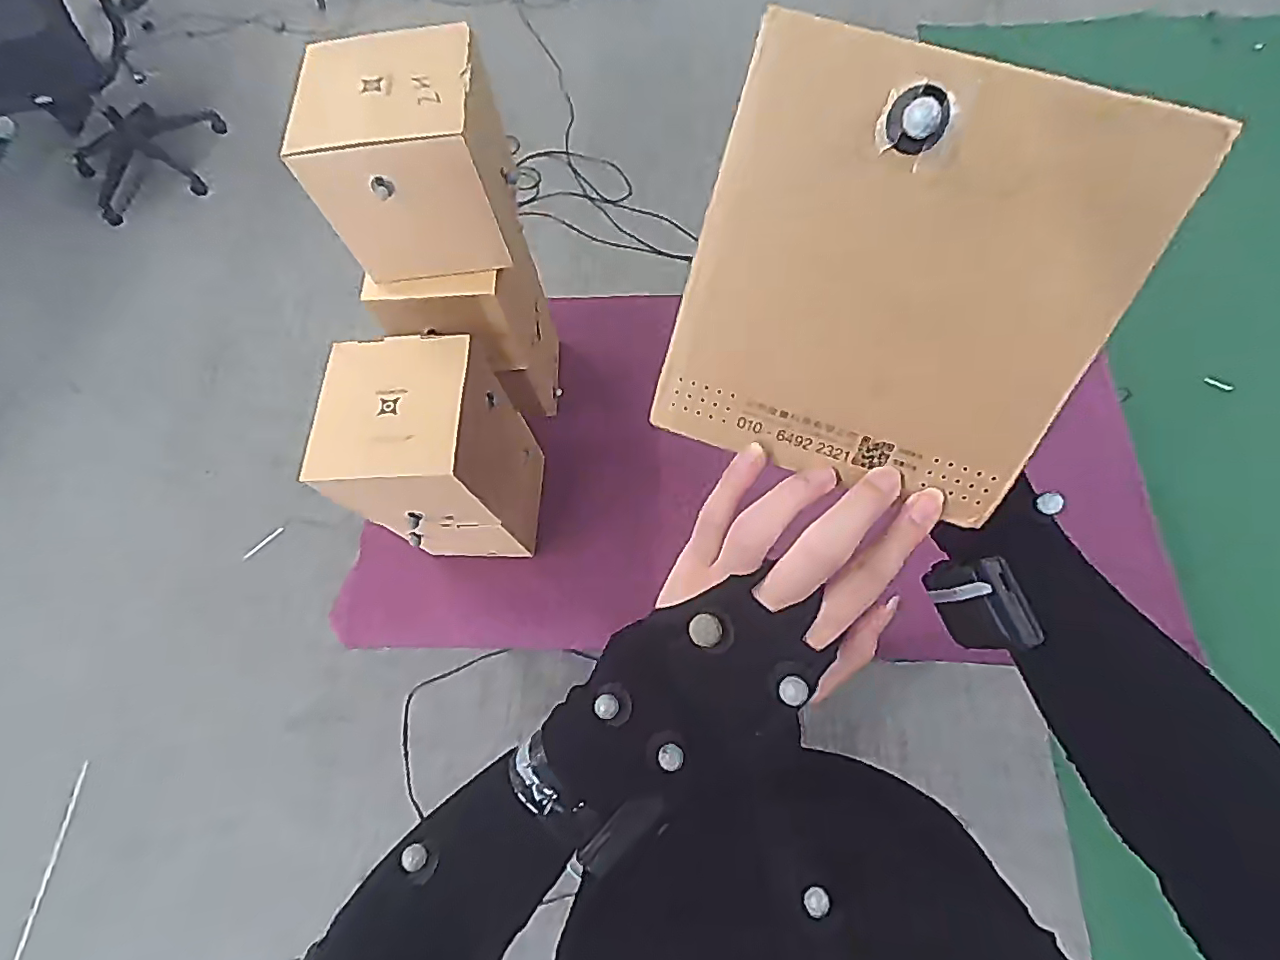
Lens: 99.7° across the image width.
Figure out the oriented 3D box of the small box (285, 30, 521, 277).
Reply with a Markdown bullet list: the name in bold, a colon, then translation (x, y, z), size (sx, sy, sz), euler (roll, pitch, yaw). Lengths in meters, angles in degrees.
- **small box**: translation (-0.243, -0.349, 0.602), size (0.179, 0.176, 0.168), euler (-5, 68, 2)

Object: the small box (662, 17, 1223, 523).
- **small box**: translation (0.120, -0.103, 0.300), size (0.168, 0.176, 0.179), euler (18, 26, 5)

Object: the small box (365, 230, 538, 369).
- **small box**: translation (-0.244, -0.264, 0.745), size (0.168, 0.176, 0.179), euler (-2, 68, 3)

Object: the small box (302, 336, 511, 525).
- **small box**: translation (-0.265, -0.053, 0.662), size (0.168, 0.176, 0.179), euler (-2, 68, 4)
